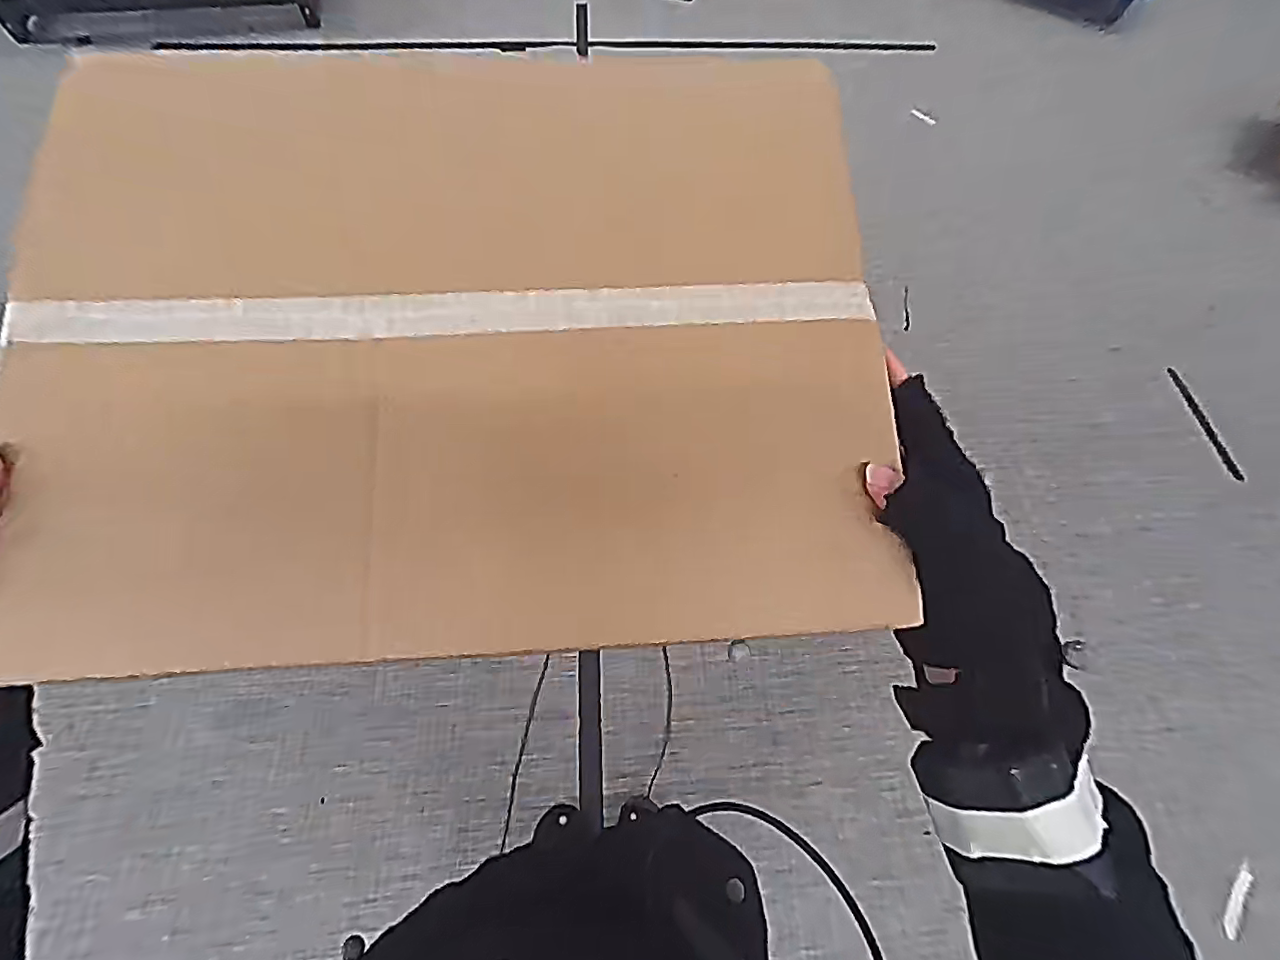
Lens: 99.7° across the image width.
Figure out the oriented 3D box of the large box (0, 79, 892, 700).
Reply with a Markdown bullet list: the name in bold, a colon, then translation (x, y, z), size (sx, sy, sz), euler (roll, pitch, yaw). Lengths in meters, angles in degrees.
- **large box**: translation (-0.094, -0.039, 0.413), size (0.408, 0.320, 0.320), euler (-3, 77, -3)
